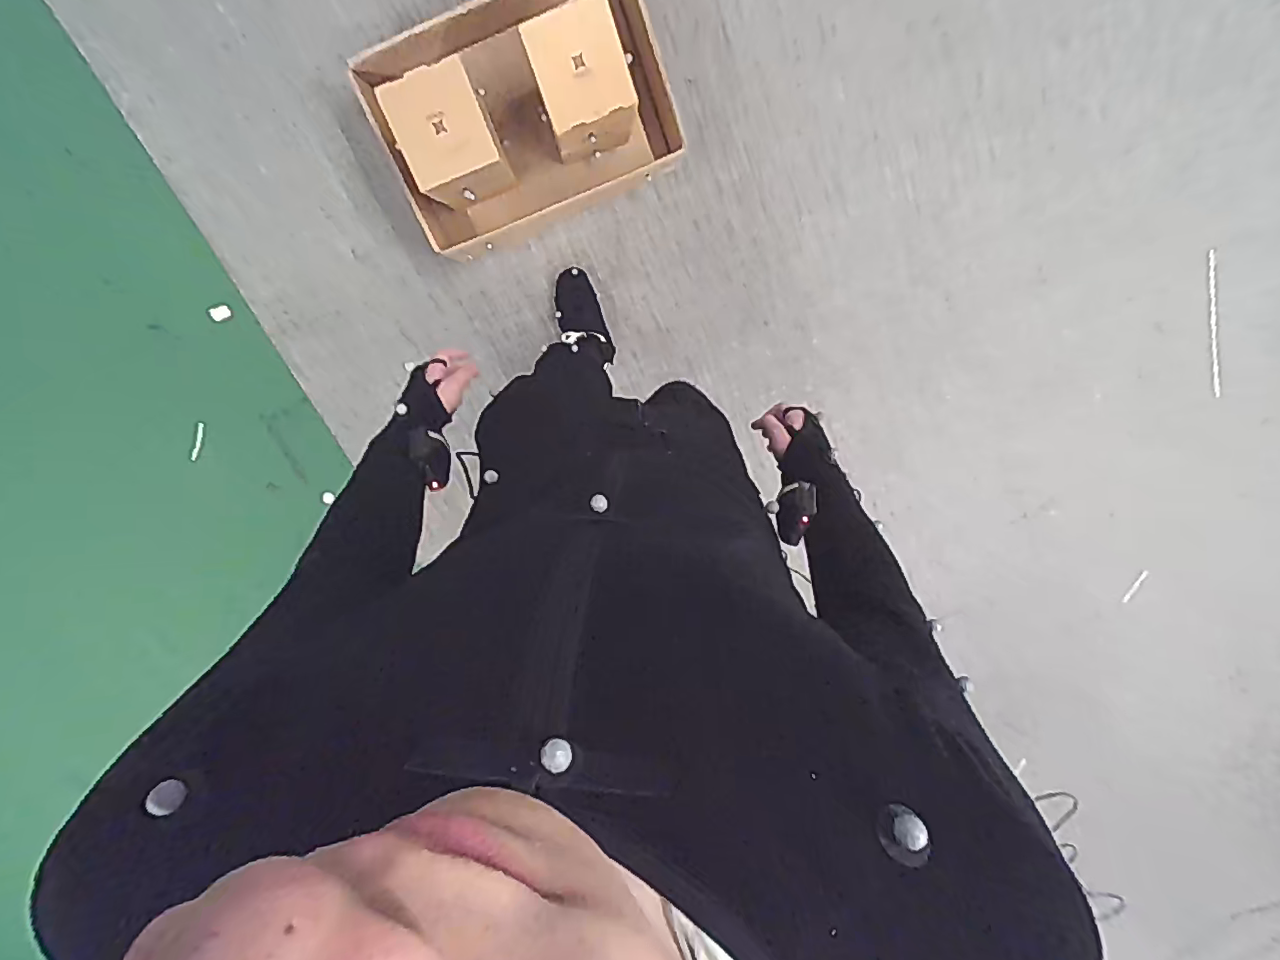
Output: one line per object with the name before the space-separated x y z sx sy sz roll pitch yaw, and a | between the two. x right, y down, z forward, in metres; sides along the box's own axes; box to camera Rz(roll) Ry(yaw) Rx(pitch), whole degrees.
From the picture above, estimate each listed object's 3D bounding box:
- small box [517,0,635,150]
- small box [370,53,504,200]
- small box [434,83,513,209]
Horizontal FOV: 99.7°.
small box | -0.120 -0.768 1.035 0.168 0.176 0.179 -20 112 2
small box | -0.378 -0.667 1.044 0.168 0.176 0.179 -20 112 2
small box | -0.396 -0.726 1.195 0.168 0.176 0.179 -20 111 2
